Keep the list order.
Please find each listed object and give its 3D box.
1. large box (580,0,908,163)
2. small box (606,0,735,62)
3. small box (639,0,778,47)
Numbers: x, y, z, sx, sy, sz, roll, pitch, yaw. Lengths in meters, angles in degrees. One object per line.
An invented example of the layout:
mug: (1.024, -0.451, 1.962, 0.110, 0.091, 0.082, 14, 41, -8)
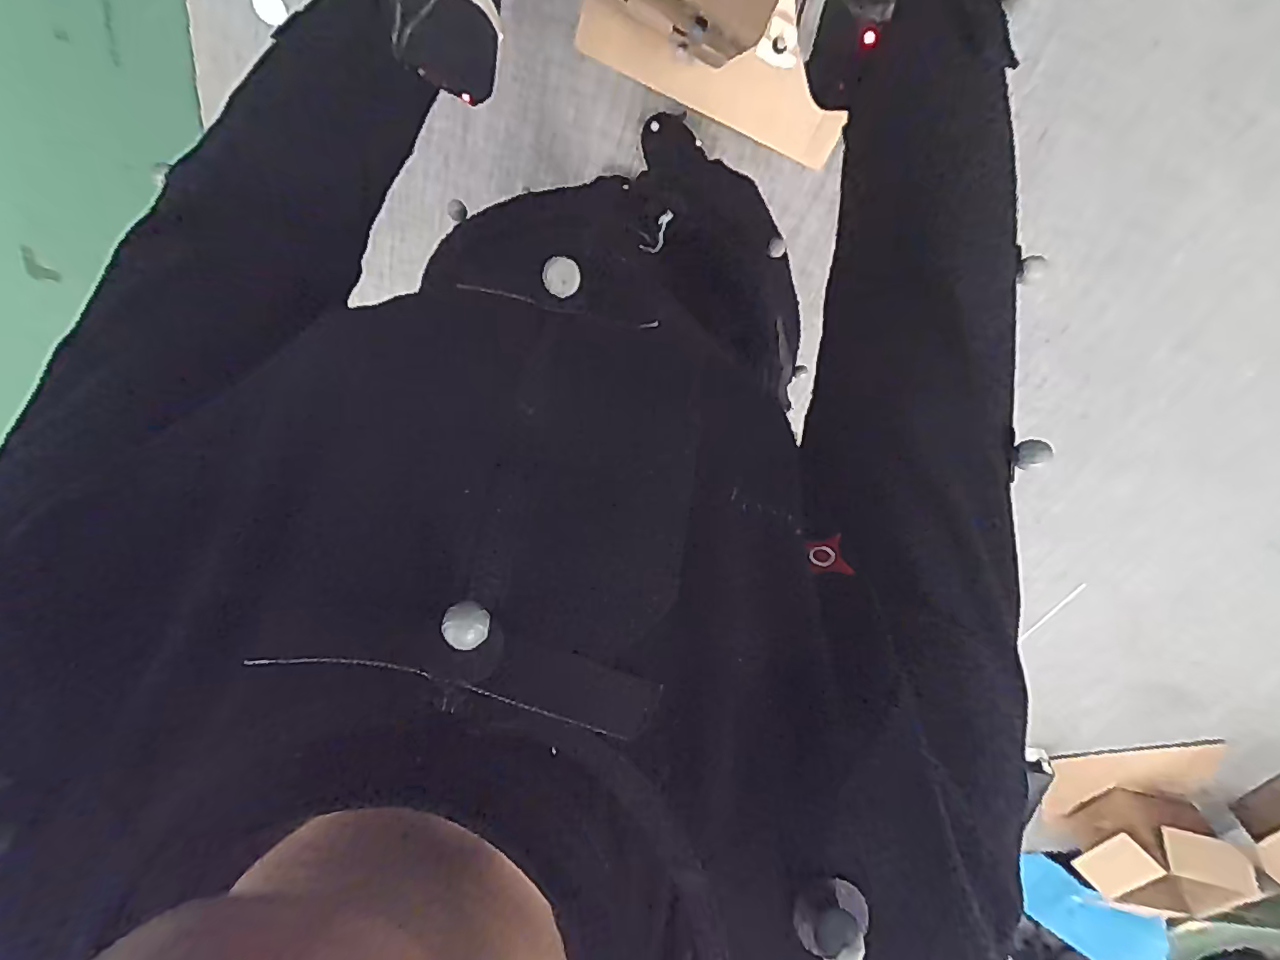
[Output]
large box: (0.156, -0.743, 0.828, 0.408, 0.320, 0.320, 19, 126, -10)
small box: (0.047, -0.520, 0.496, 0.168, 0.176, 0.179, 21, 123, -13)
small box: (0.038, -0.427, 0.363, 0.179, 0.176, 0.168, 22, 124, -14)
